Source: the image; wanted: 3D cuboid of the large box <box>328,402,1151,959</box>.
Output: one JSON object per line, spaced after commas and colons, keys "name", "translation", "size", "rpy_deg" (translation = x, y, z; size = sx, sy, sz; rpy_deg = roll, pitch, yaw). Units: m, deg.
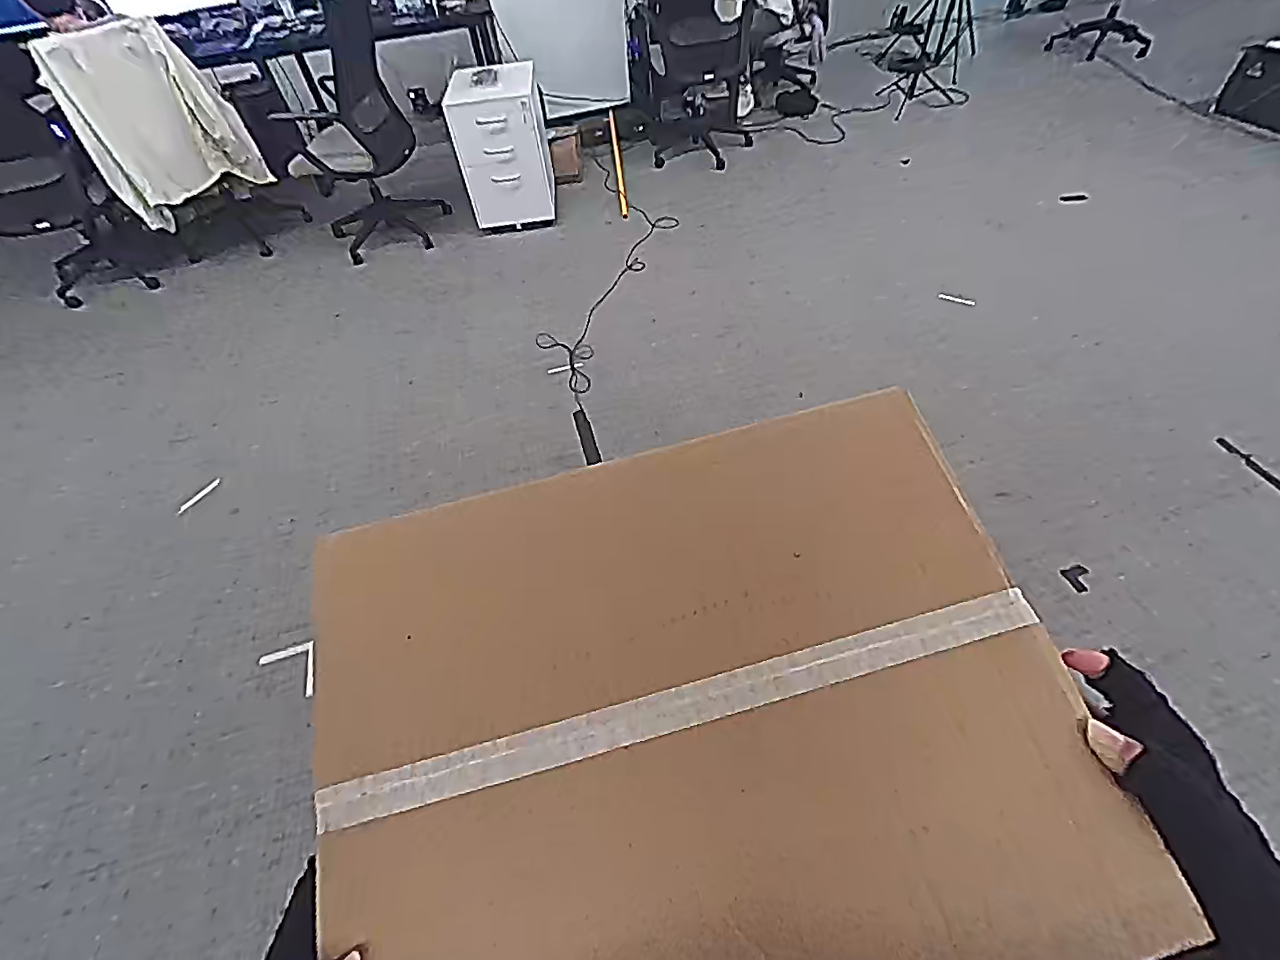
{"name": "large box", "translation": [0.033, 0.188, 0.446], "size": [0.408, 0.320, 0.320], "rpy_deg": [-15, 65, -3]}
